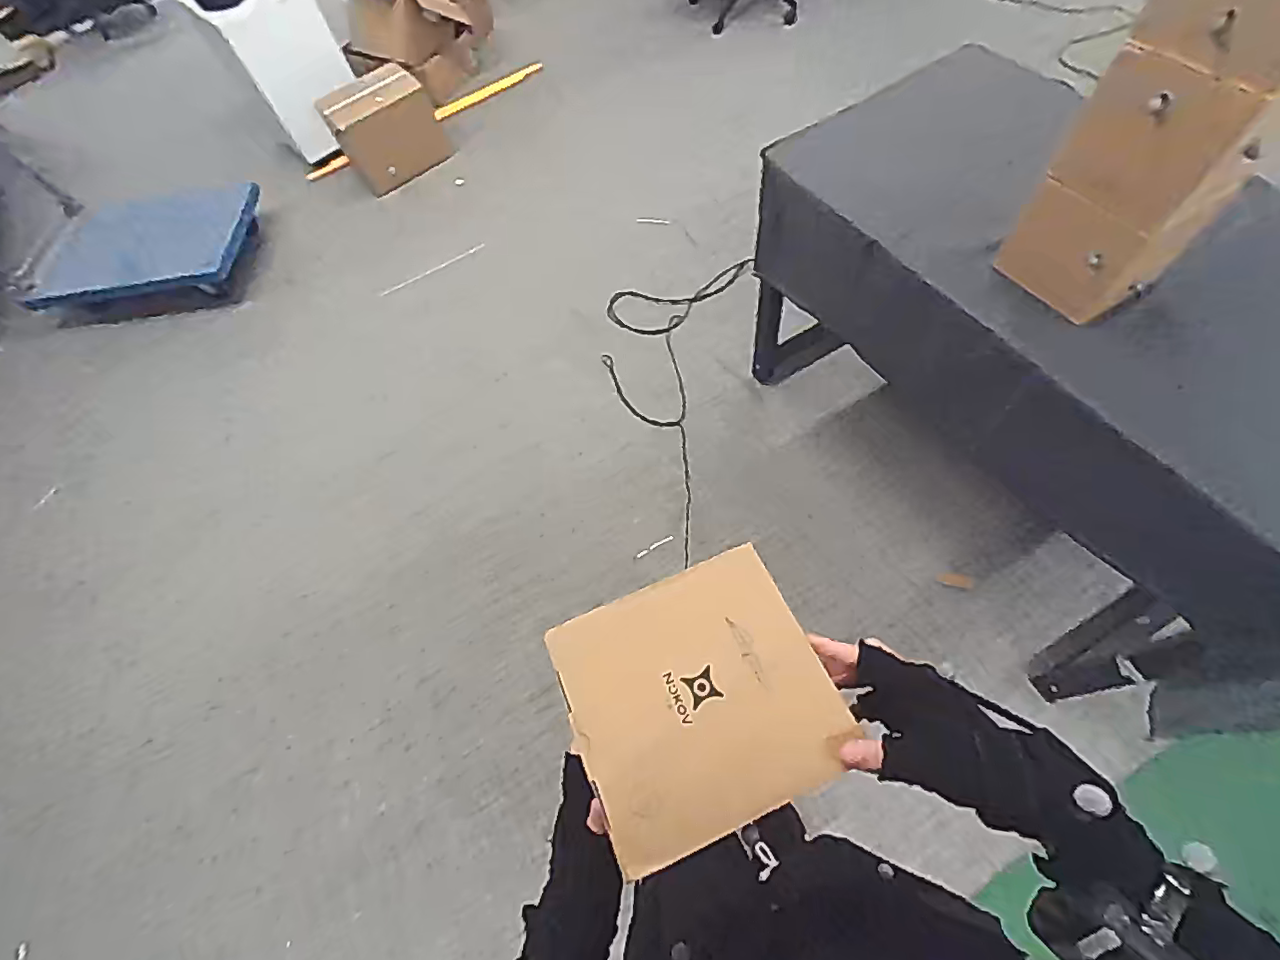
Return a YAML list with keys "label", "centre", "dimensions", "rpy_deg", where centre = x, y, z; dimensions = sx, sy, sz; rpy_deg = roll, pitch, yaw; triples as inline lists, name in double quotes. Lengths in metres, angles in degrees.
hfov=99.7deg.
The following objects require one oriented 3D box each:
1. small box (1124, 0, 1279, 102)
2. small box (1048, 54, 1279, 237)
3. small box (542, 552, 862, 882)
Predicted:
- label: "small box"
  centre: [0.678, -0.527, 0.554]
  dimensions: [0.168, 0.176, 0.179]
  rpy_deg: [-28, 62, -8]
- label: "small box"
  centre: [0.692, -0.444, 0.694]
  dimensions: [0.168, 0.176, 0.179]
  rpy_deg: [-30, 62, -9]
- label: "small box"
  centre: [0.042, 0.191, 0.441]
  dimensions: [0.179, 0.176, 0.168]
  rpy_deg: [-22, 59, -8]
